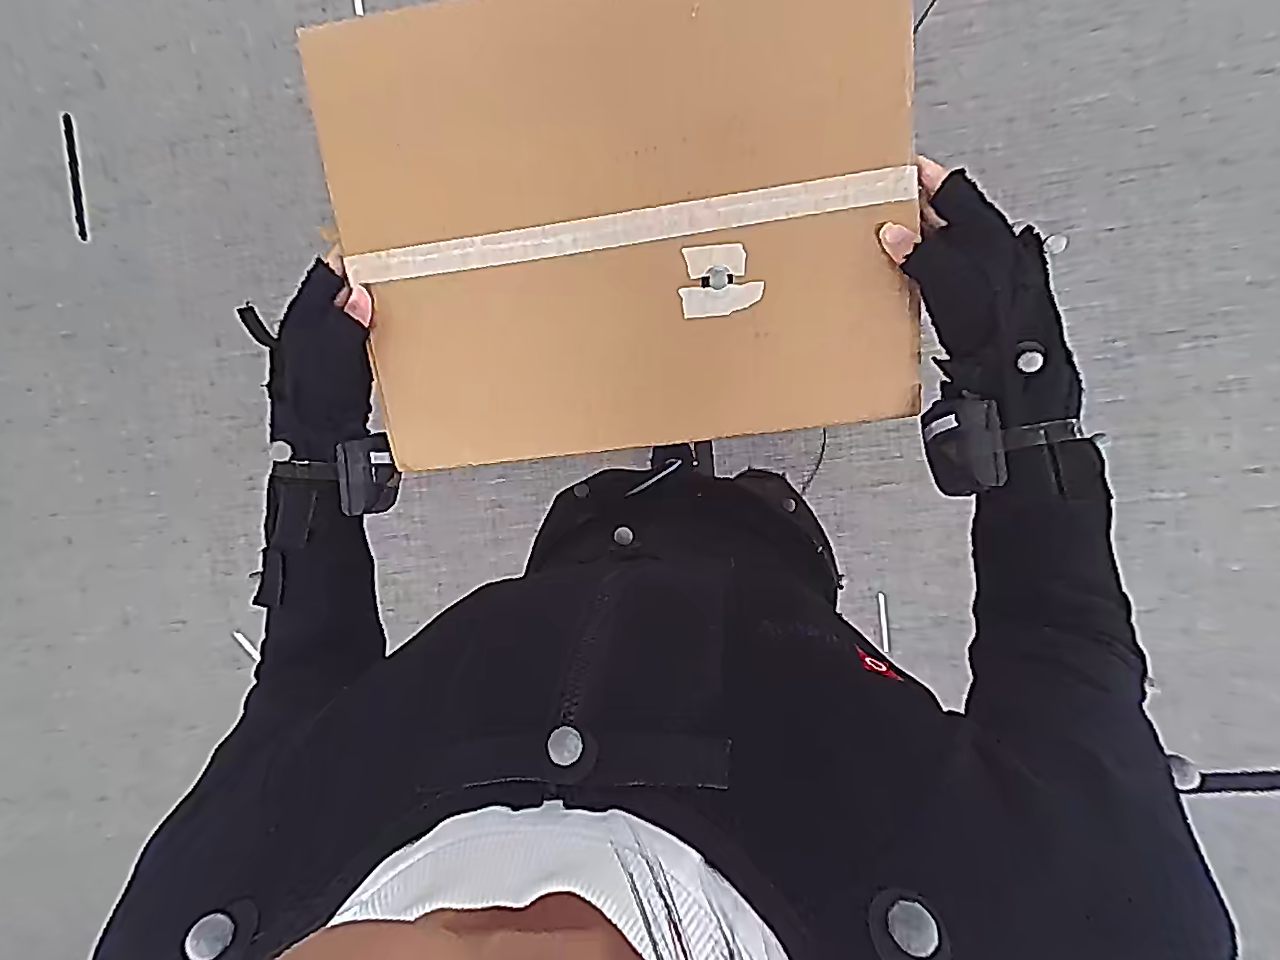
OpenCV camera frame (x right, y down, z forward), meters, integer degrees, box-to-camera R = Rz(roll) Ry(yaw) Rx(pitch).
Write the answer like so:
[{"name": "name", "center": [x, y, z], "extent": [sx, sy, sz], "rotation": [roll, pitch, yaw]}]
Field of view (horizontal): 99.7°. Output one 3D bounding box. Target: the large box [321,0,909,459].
[{"name": "large box", "center": [-0.005, -0.221, 0.540], "extent": [0.408, 0.320, 0.320], "rotation": [-7, 103, 5]}]
